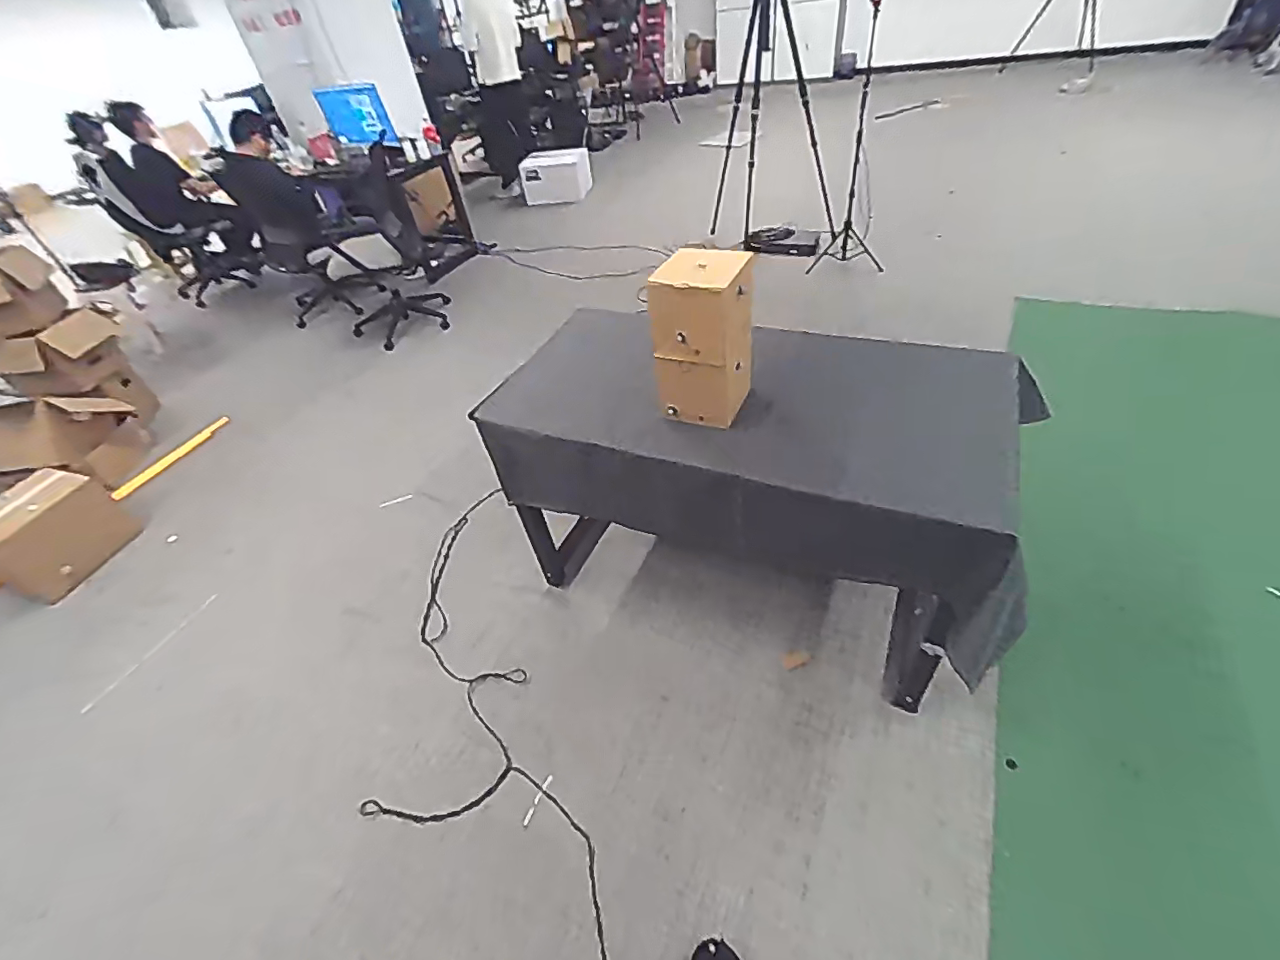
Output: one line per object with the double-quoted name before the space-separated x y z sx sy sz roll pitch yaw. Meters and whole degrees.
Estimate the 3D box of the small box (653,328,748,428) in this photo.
"small box" 0.146 -0.241 1.245 0.168 0.176 0.179 13 46 23

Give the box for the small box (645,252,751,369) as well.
"small box" 0.126 -0.358 1.135 0.168 0.176 0.179 13 48 23
